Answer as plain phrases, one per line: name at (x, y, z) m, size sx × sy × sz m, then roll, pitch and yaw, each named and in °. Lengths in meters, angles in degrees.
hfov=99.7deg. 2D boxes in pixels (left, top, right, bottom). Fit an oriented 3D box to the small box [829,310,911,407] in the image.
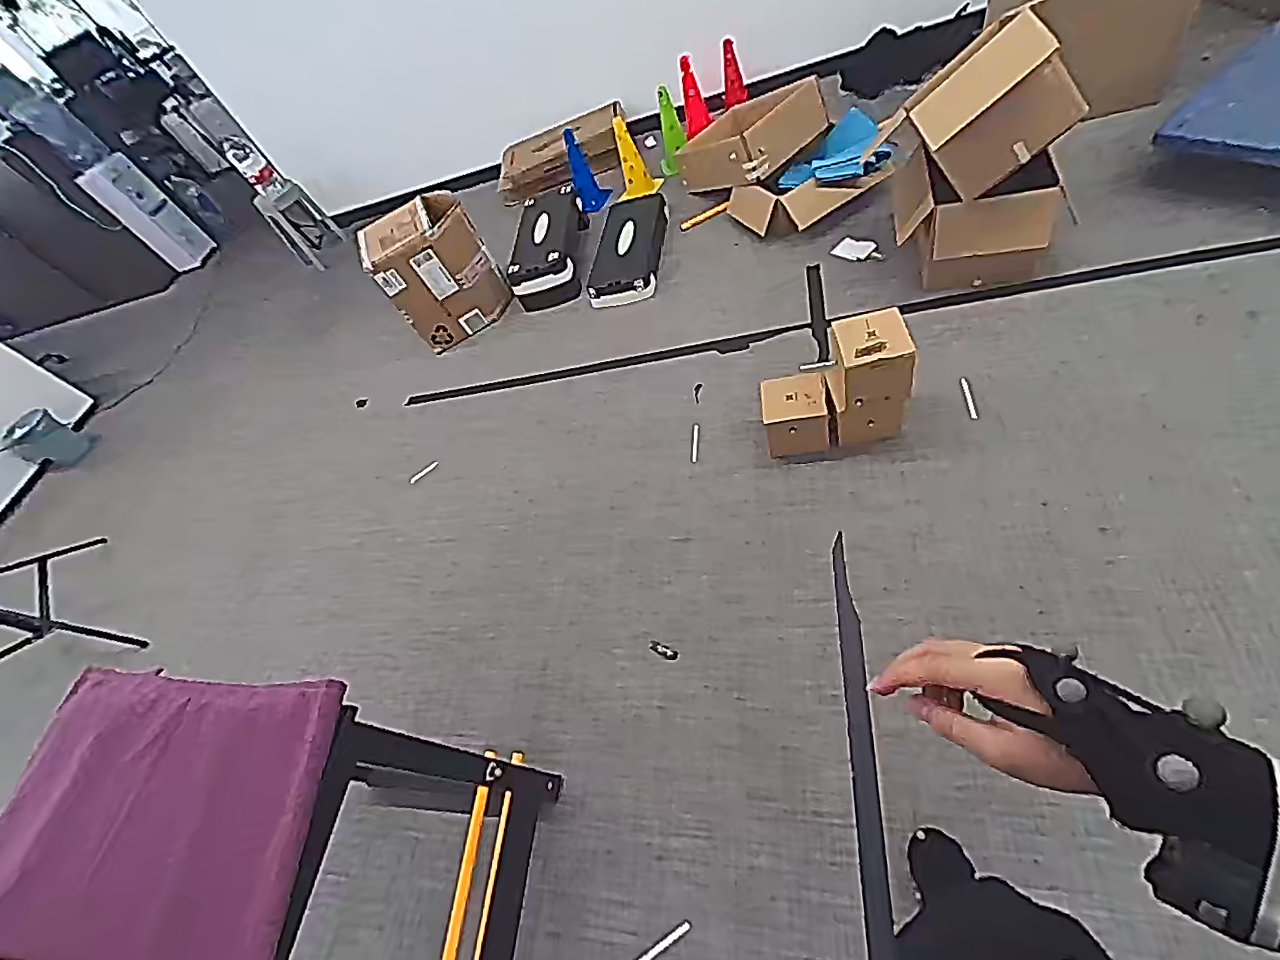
small box at (0.601, -0.310, 1.424) m, size 0.168 × 0.176 × 0.179 m, roll -10°, pitch 53°, yaw 14°
